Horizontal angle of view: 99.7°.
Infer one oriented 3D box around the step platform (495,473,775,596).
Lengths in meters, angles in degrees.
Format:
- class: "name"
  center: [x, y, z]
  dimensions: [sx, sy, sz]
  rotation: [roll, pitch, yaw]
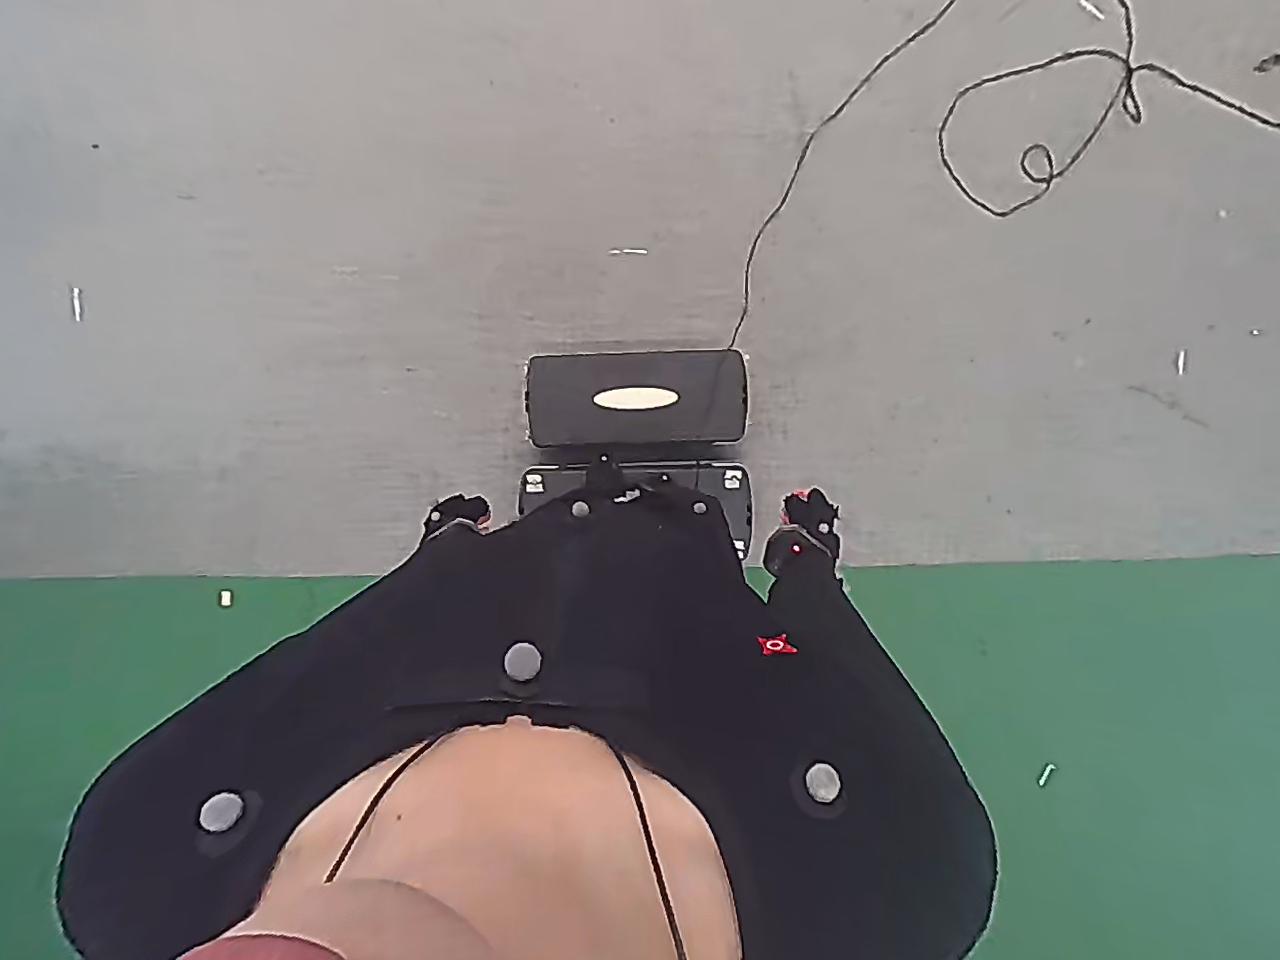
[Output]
- class: "step platform"
  center: [-0.013, 0.132, 1.401]
  dimensions: [0.684, 0.204, 0.286]
  rotation: [-1, 92, 0]
